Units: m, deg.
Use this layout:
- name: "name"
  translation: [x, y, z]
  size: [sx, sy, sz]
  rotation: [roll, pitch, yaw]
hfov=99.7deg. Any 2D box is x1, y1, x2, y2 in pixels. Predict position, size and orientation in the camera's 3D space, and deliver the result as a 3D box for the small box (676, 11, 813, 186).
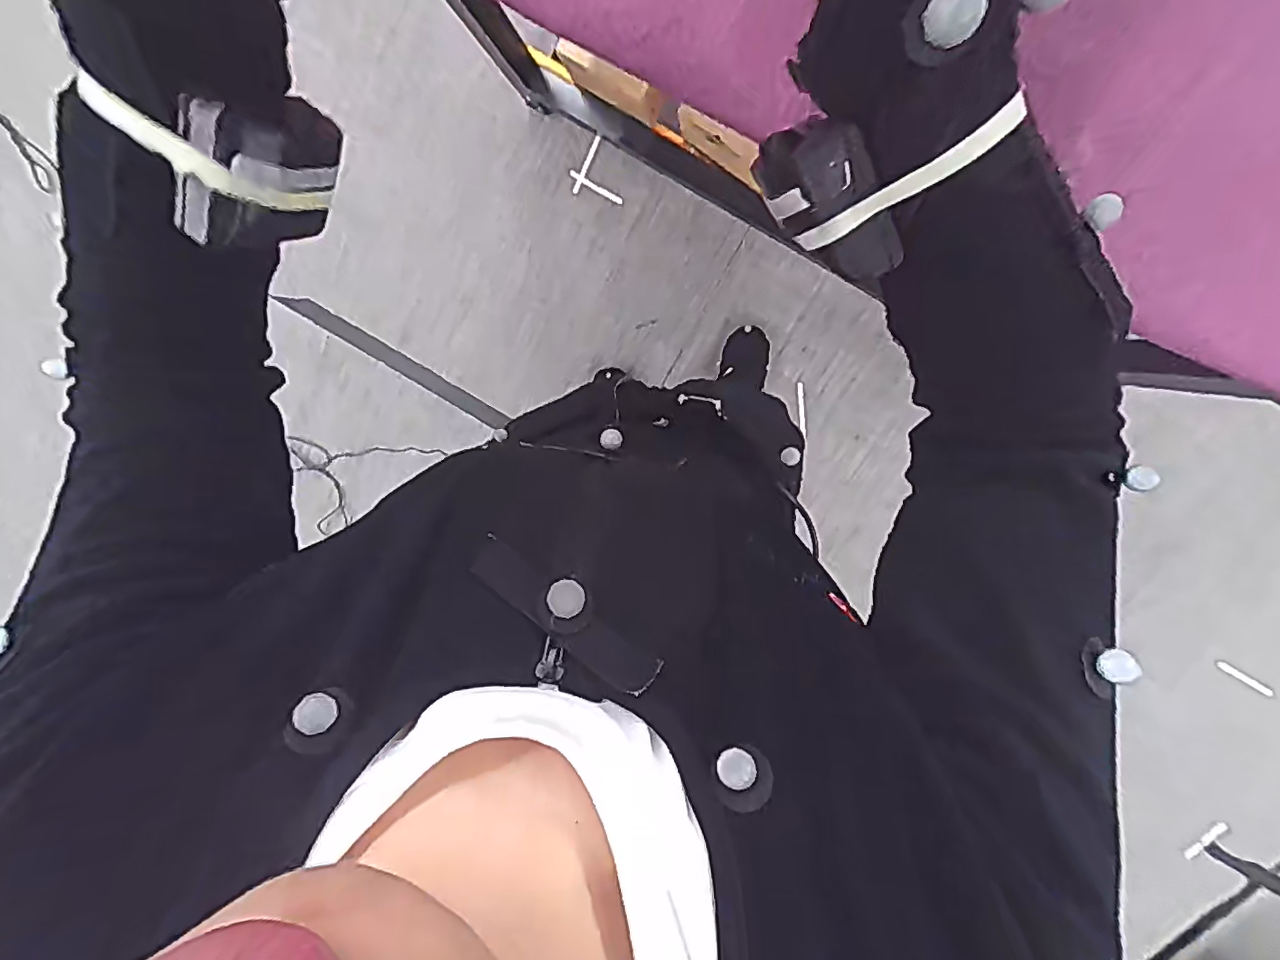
- name: "small box"
  translation: [0.185, -0.676, 0.987]
  size: [0.168, 0.176, 0.179]
  rotation: [35, 106, -4]
